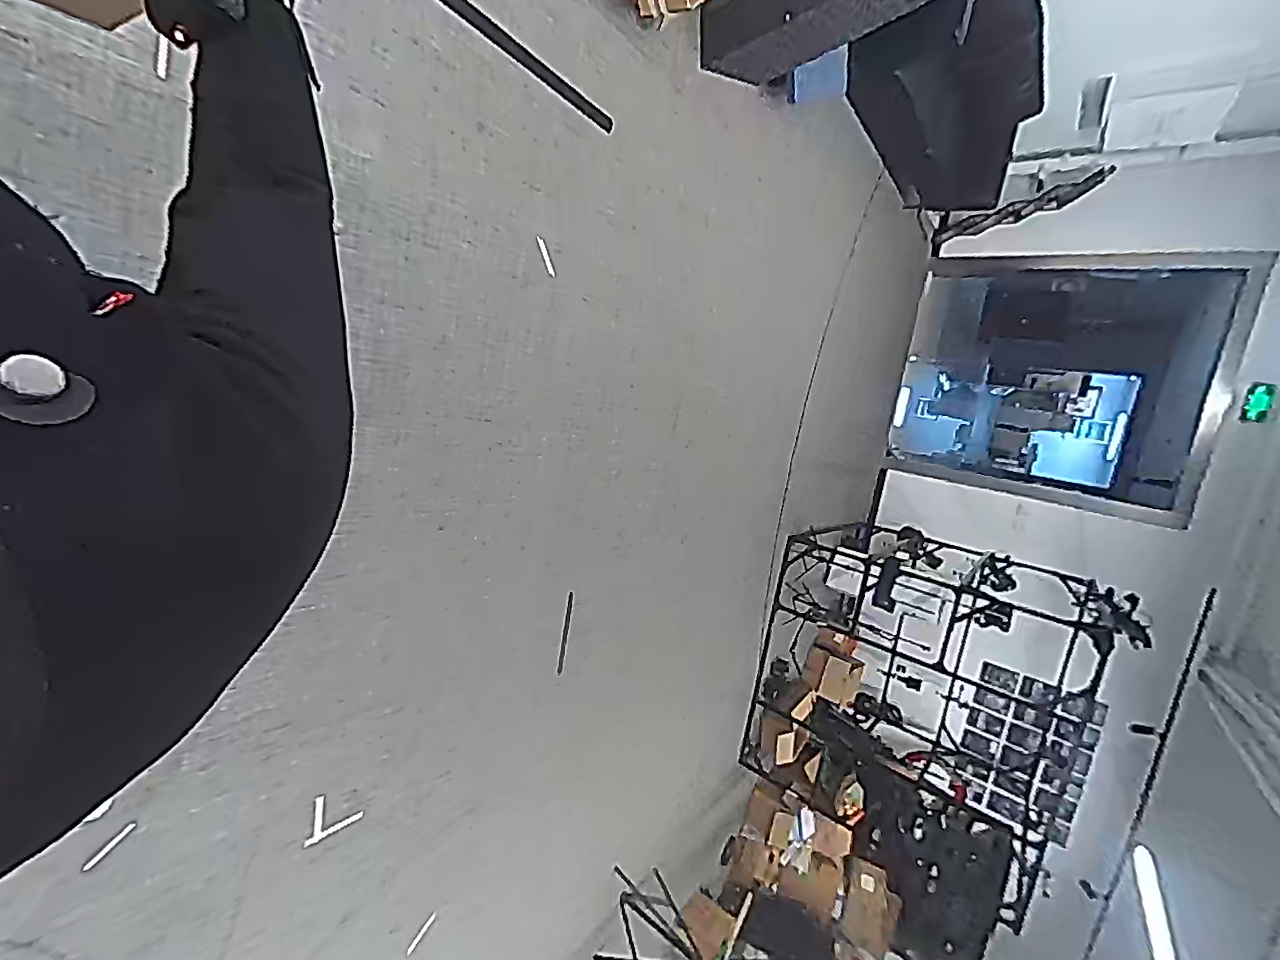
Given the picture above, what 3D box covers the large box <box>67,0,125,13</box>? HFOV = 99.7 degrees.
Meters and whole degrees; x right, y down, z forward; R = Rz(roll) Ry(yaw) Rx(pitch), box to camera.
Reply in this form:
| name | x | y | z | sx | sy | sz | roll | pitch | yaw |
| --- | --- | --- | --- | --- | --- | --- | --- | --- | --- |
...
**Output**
| name | x | y | z | sx | sy | sz | roll | pitch | yaw |
| --- | --- | --- | --- | --- | --- | --- | --- | --- | --- |
| large box | -0.523 | -0.546 | 0.277 | 0.408 | 0.320 | 0.320 | -8 | 118 | -52 |
